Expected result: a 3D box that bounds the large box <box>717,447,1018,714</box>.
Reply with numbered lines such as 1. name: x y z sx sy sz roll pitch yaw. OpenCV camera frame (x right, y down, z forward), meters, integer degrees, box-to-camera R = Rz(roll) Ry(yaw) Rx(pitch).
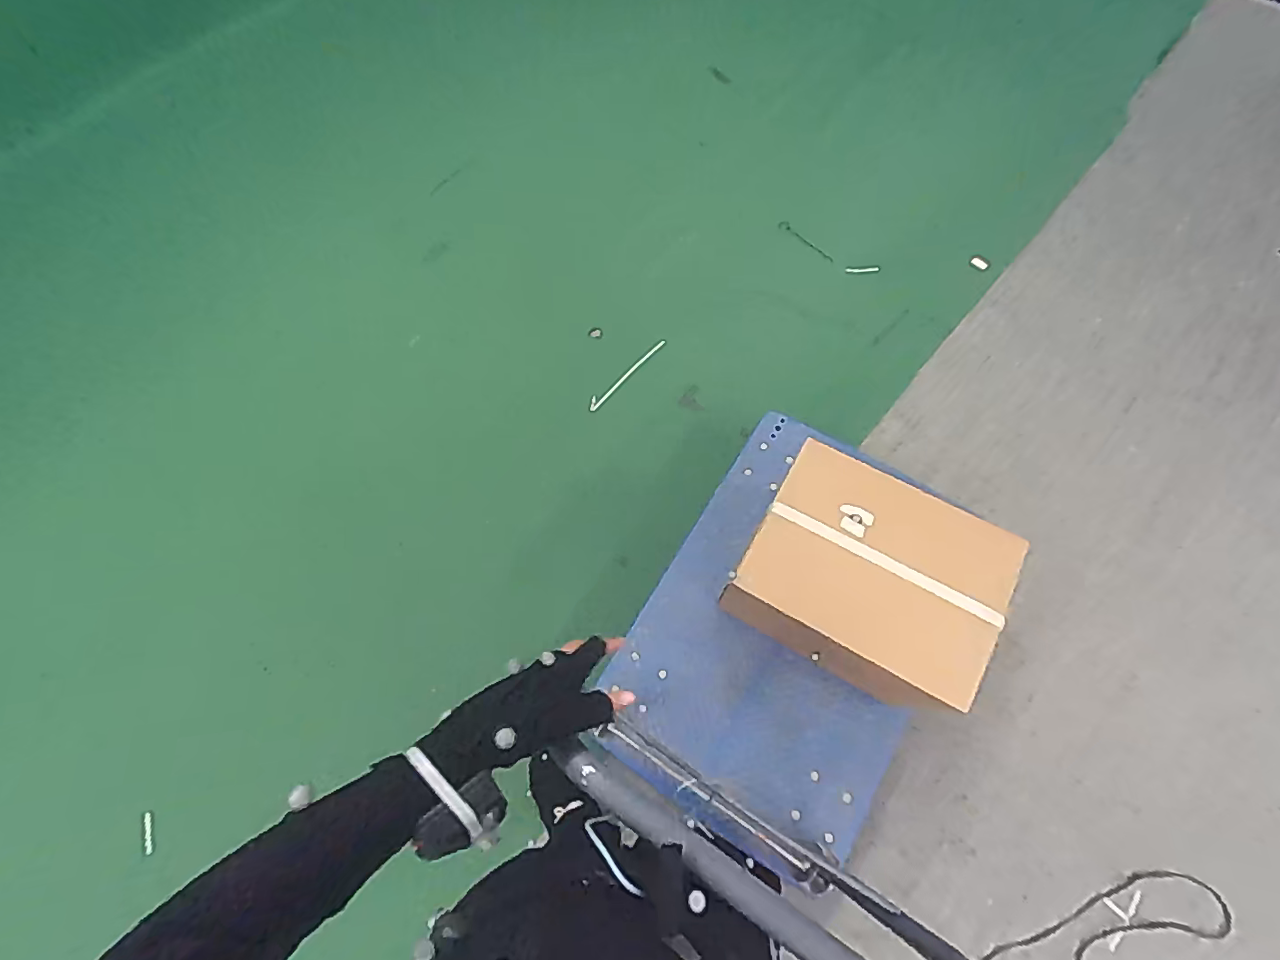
1. large box: 0.402 0.202 1.048 0.408 0.320 0.320 28 73 15
